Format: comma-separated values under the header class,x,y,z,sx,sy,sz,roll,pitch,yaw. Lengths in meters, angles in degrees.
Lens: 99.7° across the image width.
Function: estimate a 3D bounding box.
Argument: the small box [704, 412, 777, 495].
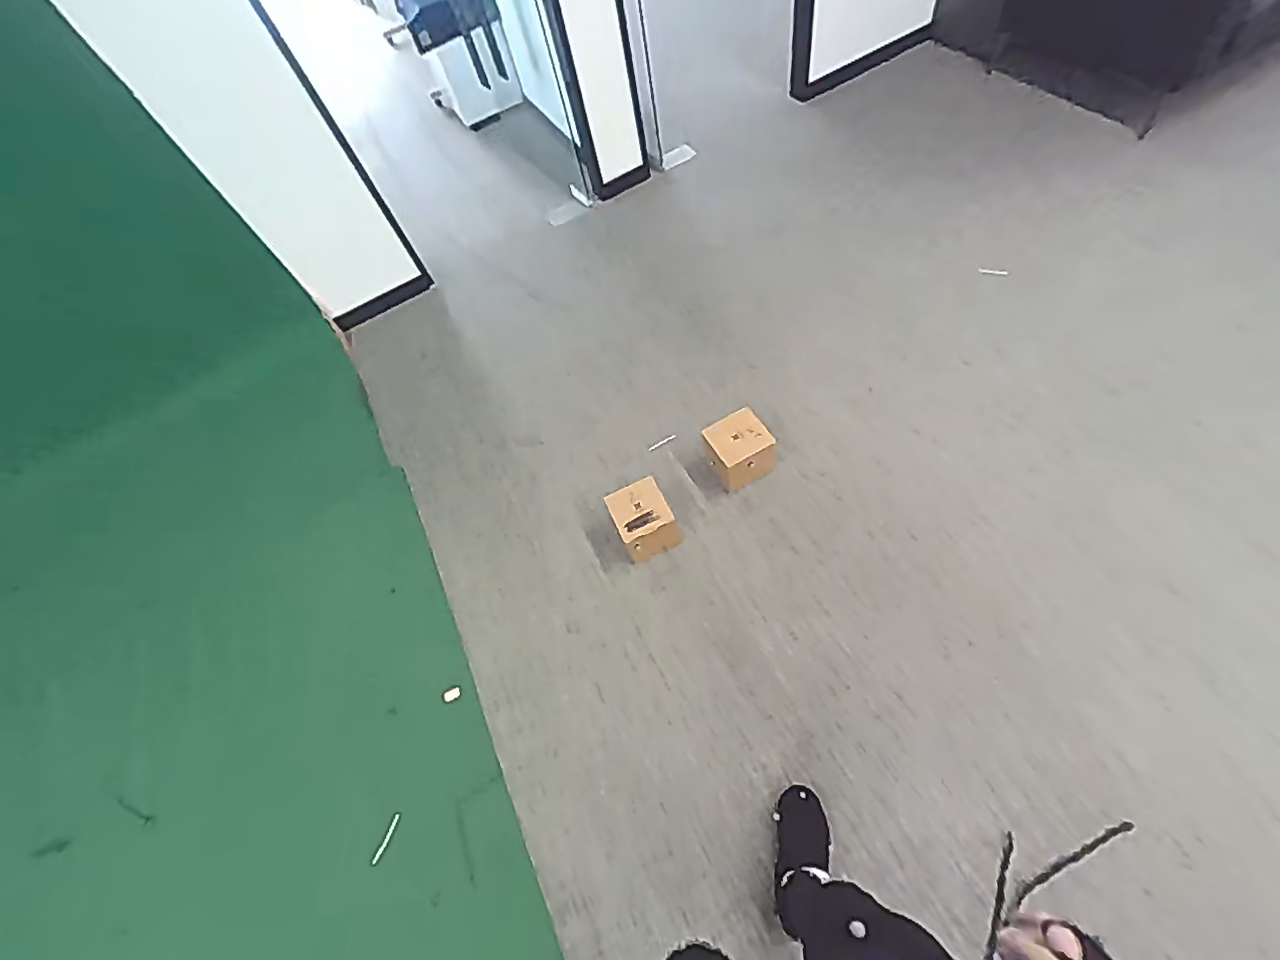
class,x,y,z,sx,sy,sz,roll,pitch,yaw
small box,0.326,-0.081,1.748,0.179,0.176,0.168,-28,58,-6
